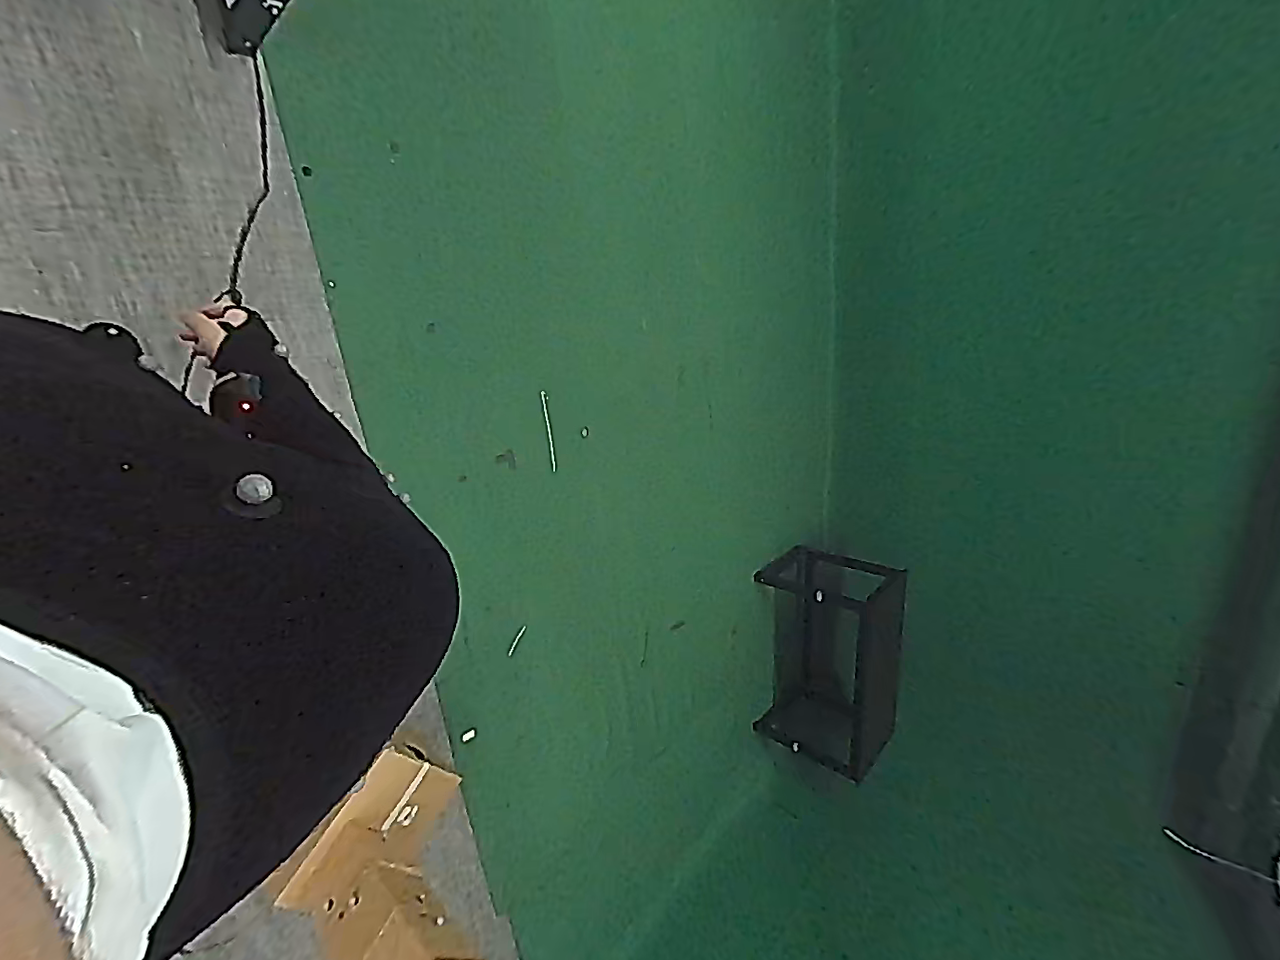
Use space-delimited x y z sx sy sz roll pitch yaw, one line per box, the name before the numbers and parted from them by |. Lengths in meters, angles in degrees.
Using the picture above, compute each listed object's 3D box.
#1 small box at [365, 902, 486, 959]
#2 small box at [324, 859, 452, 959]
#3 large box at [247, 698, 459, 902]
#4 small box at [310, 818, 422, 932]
small box | -0.469 1.046 1.141 0.179 0.176 0.168 -59 134 -23
small box | -0.585 1.024 1.255 0.168 0.176 0.179 -57 133 -24
large box | -0.829 0.931 1.580 0.408 0.320 0.320 -58 135 -23
small box | -0.699 1.004 1.369 0.179 0.176 0.168 -58 134 -22
